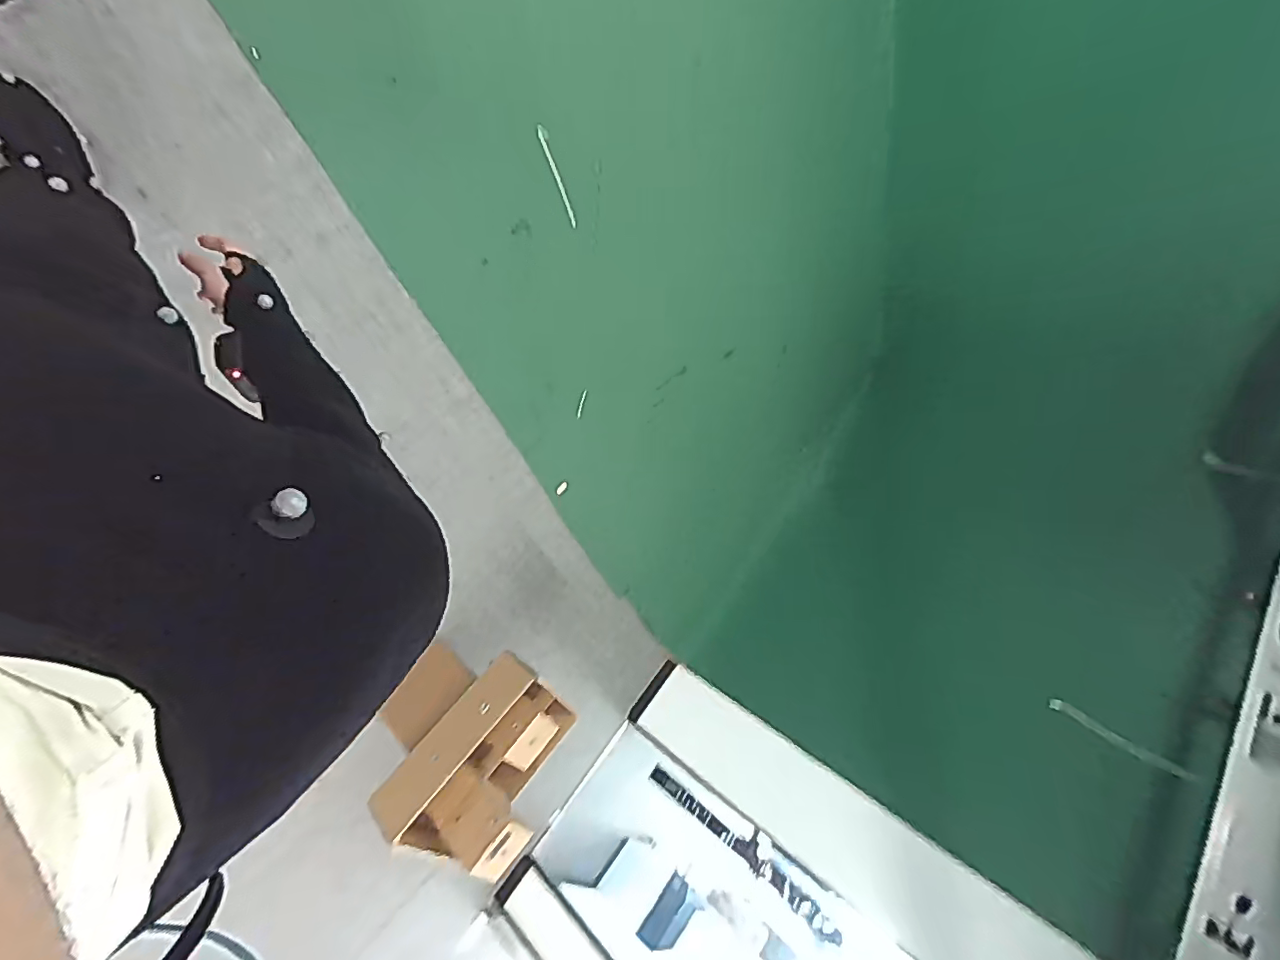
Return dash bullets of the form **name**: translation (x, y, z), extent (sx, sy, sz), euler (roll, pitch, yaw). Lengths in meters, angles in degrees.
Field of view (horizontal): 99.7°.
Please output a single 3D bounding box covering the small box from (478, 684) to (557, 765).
- **small box**: translation (-0.427, 0.844, 1.880), extent (0.179, 0.176, 0.168), euler (-47, 140, -20)
